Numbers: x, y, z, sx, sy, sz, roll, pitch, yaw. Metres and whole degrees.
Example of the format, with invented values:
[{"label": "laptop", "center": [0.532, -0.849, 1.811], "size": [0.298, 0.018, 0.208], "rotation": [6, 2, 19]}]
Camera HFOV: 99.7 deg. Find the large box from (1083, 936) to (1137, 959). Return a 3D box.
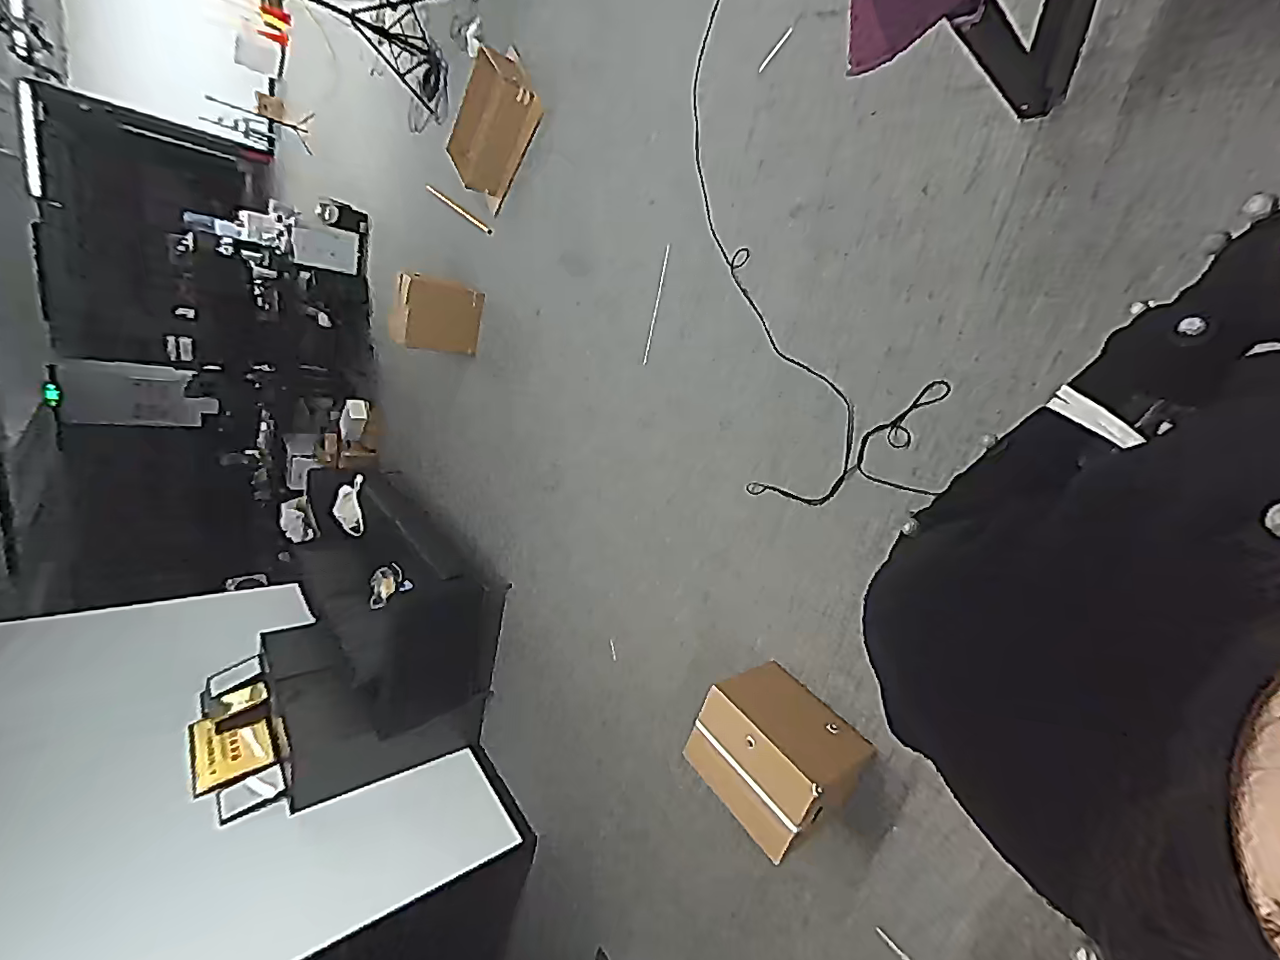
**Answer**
[{"label": "large box", "center": [0.987, 1.255, 1.062], "size": [0.320, 0.320, 0.408], "rotation": [29, 114, 44]}]
